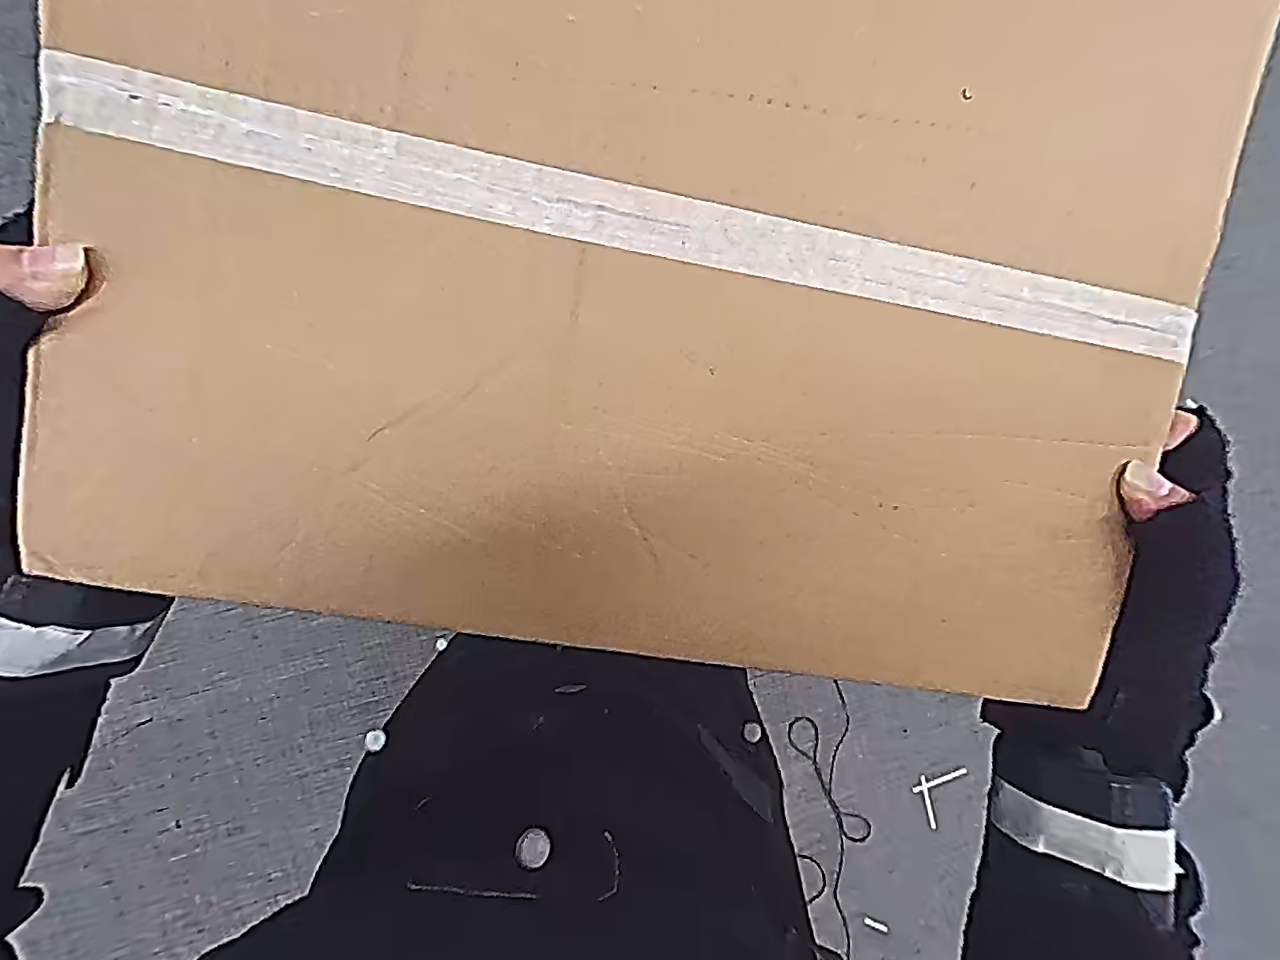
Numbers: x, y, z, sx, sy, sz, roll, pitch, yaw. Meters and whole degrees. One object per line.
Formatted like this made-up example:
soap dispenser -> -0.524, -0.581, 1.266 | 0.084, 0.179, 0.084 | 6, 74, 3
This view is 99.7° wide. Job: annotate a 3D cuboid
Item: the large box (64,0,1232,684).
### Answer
large box -> -0.002, -0.105, 0.349 | 0.408, 0.320, 0.320 | 9, 96, -7
